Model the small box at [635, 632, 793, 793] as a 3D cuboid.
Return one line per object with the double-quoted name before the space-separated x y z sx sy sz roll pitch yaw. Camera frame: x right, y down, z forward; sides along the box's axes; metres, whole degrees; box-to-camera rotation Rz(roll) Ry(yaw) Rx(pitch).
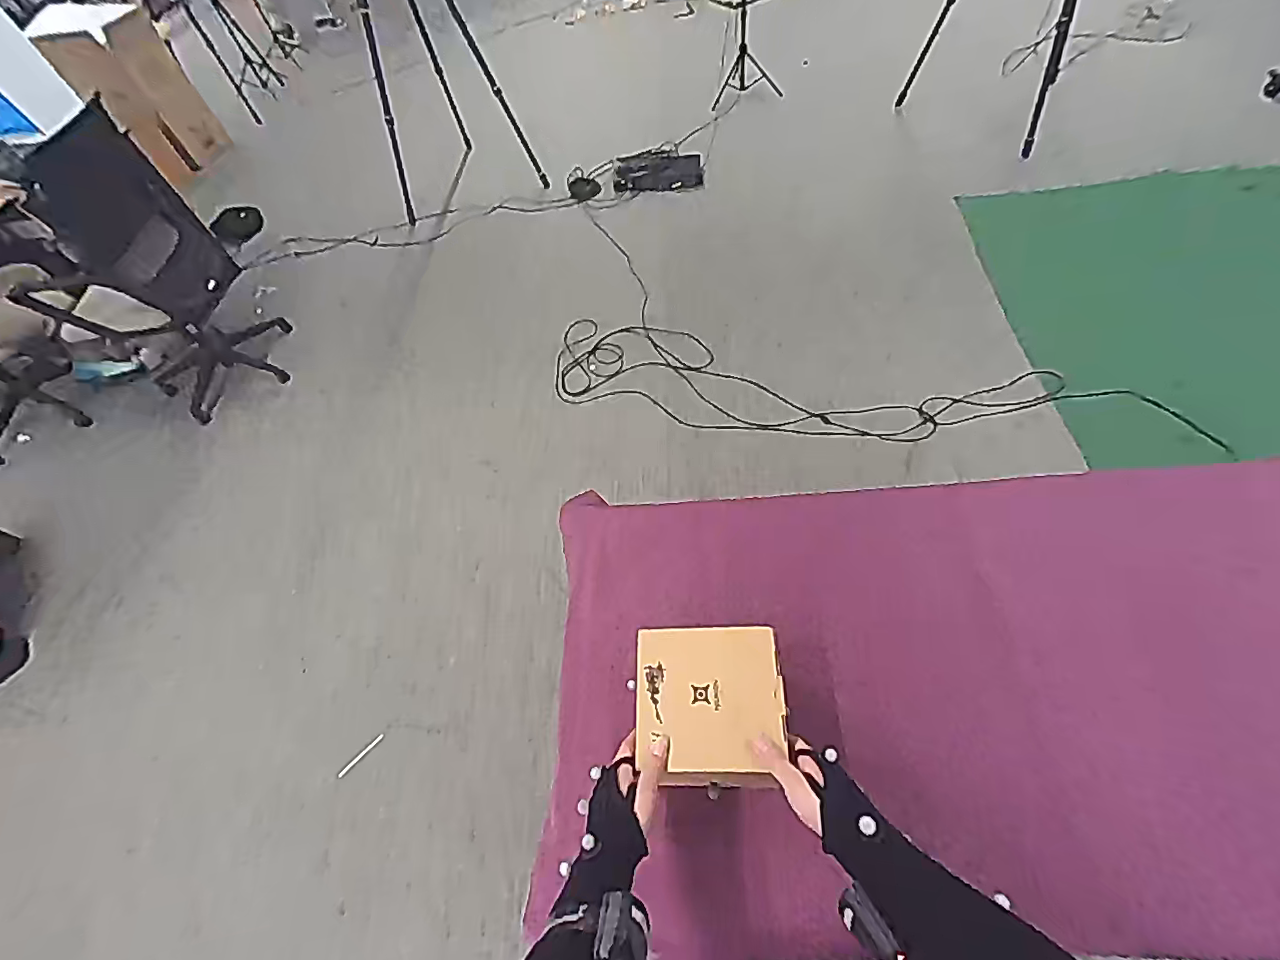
"small box" 0.092 0.306 0.705 0.179 0.176 0.168 -2 55 6
